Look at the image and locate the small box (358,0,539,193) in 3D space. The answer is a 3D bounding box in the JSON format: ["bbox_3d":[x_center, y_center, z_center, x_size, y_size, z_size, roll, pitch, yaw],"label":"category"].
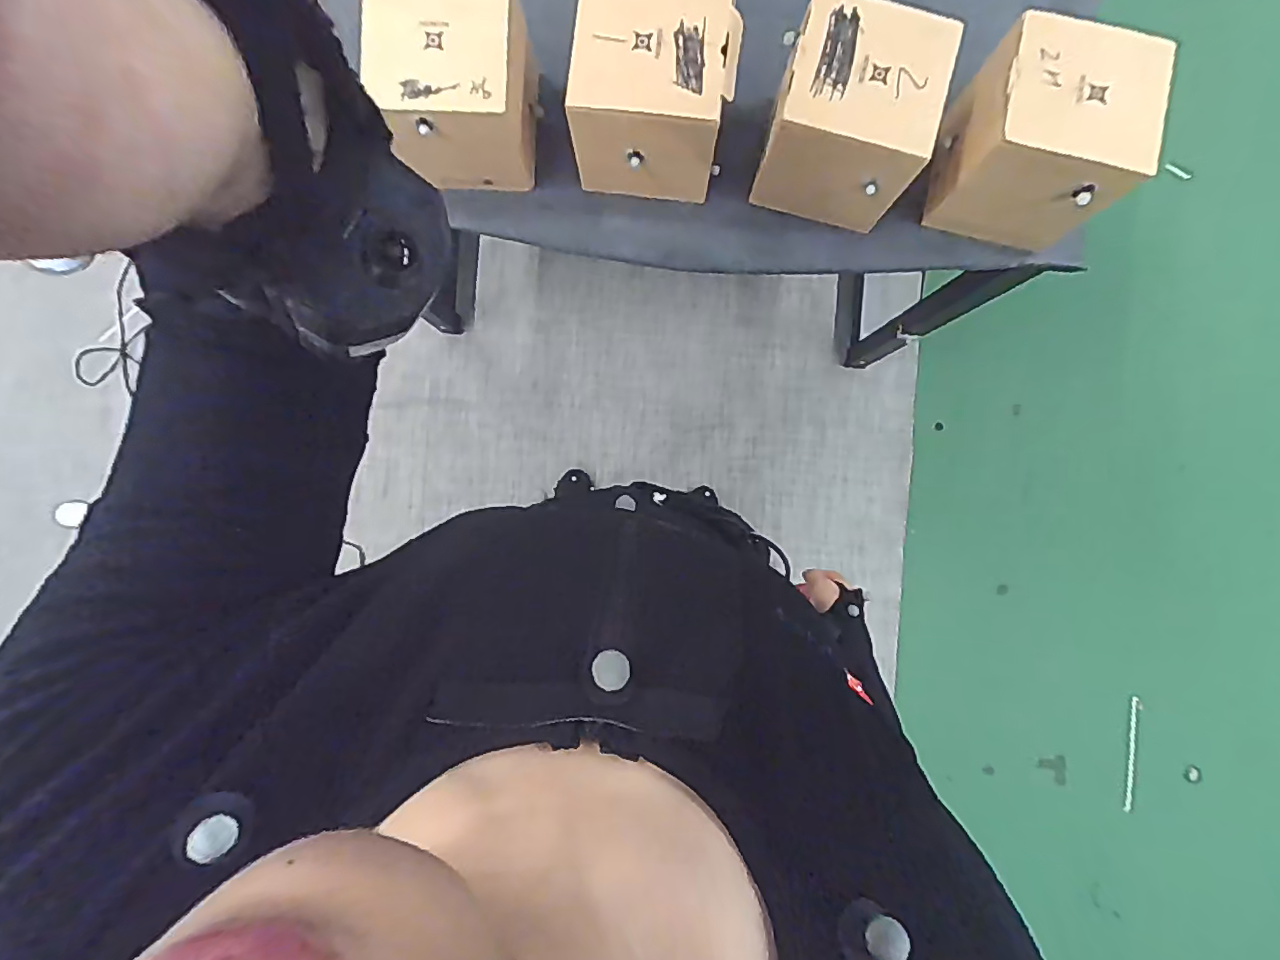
[{"bbox_3d":[-0.227,-0.497,0.683,0.168,0.176,0.179,3,89,1],"label":"small box"}]
